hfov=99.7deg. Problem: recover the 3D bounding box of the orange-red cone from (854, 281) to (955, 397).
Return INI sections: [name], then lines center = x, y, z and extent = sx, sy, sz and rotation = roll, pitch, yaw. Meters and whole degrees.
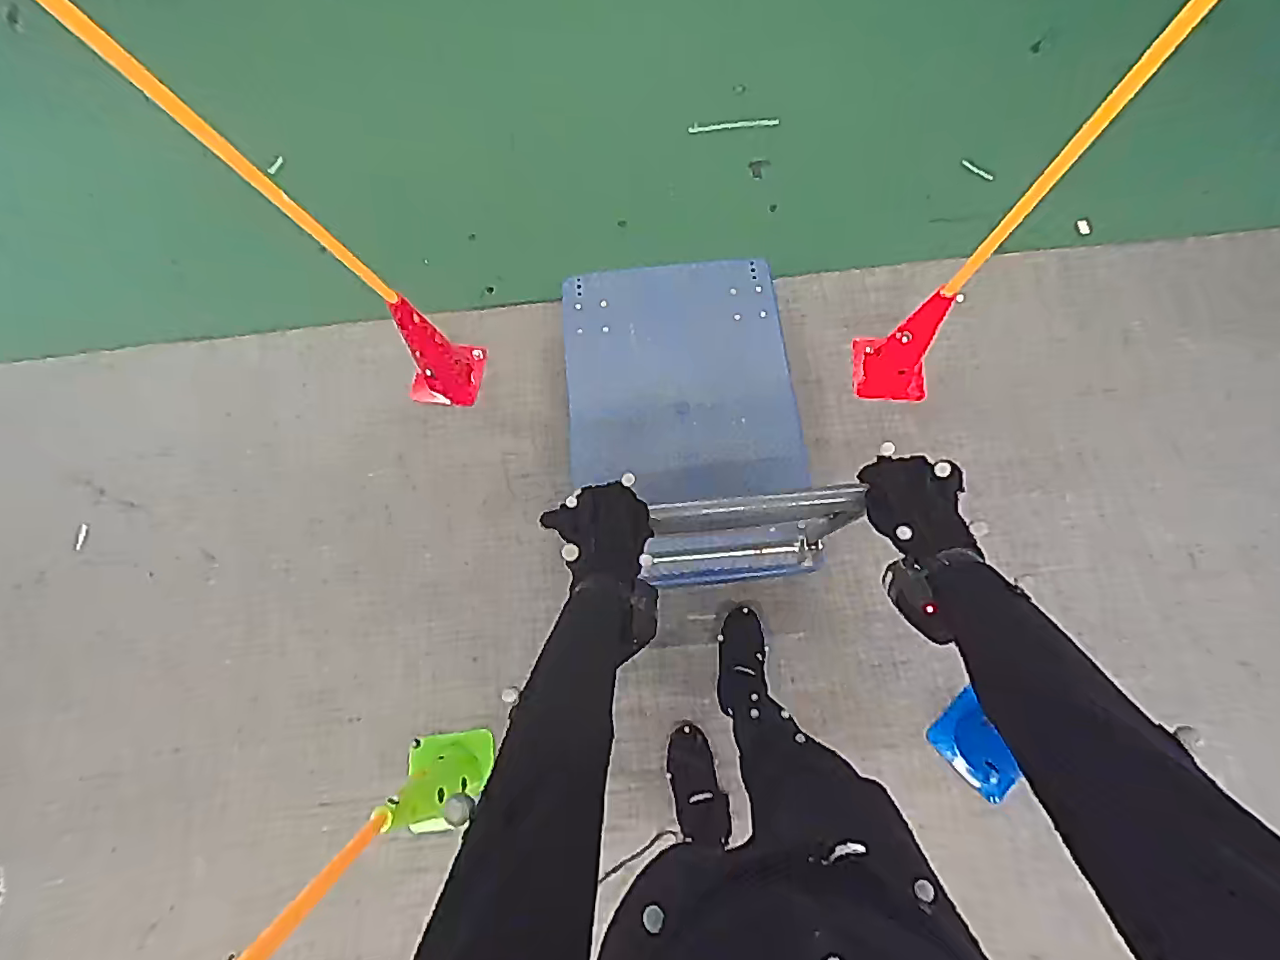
[orange-red cone]
center = 0.709, -0.383, 1.395
extent = 0.198, 0.360, 0.199
rotation = 5, 73, 5
